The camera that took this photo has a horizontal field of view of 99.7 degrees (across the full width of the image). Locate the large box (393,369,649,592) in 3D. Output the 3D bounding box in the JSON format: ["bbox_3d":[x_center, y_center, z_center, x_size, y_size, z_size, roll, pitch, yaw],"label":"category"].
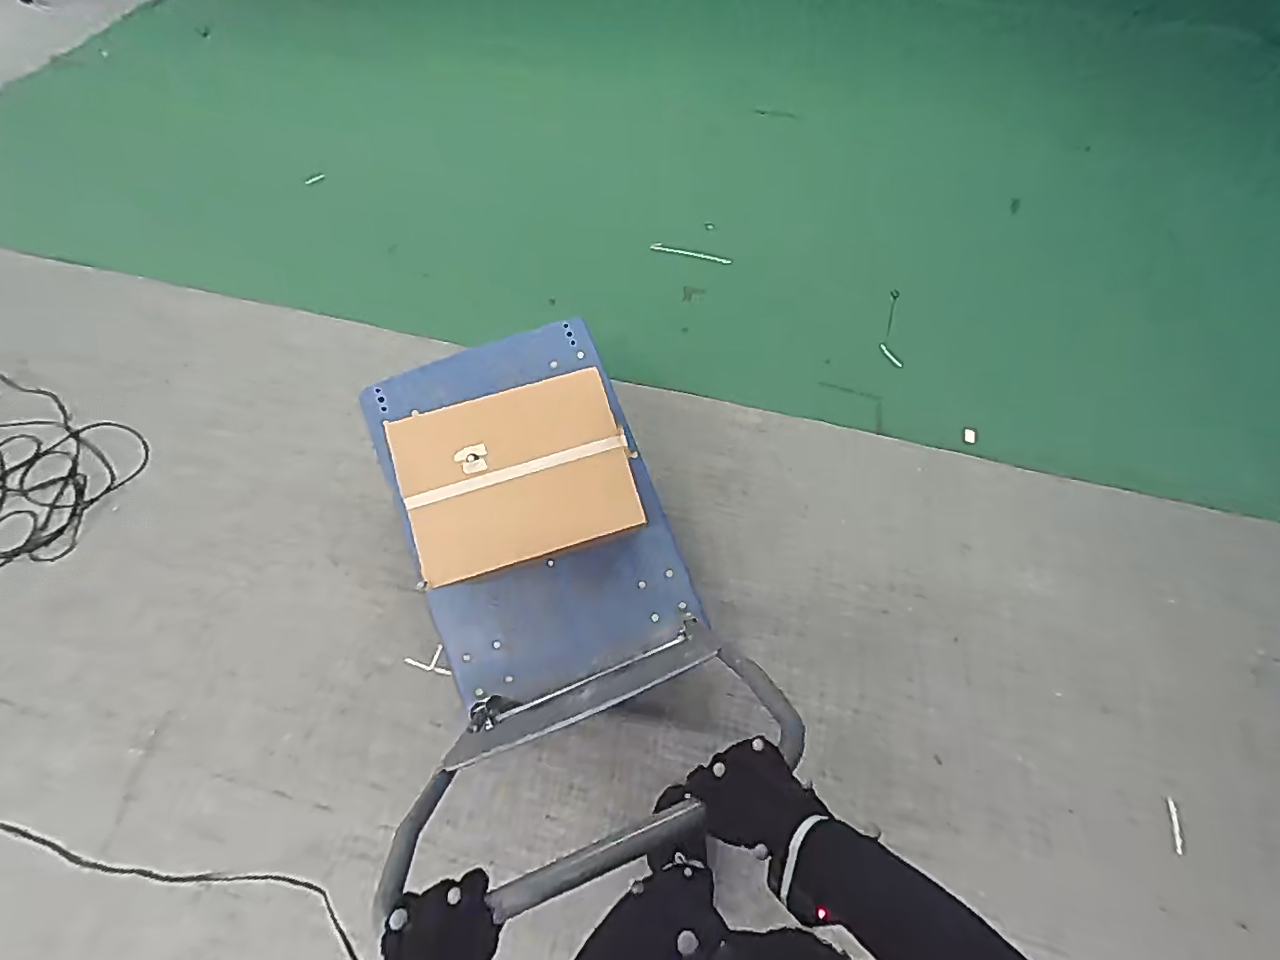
[{"bbox_3d":[-0.222,0.013,1.130,0.408,0.320,0.320,-18,82,-5],"label":"large box"}]
